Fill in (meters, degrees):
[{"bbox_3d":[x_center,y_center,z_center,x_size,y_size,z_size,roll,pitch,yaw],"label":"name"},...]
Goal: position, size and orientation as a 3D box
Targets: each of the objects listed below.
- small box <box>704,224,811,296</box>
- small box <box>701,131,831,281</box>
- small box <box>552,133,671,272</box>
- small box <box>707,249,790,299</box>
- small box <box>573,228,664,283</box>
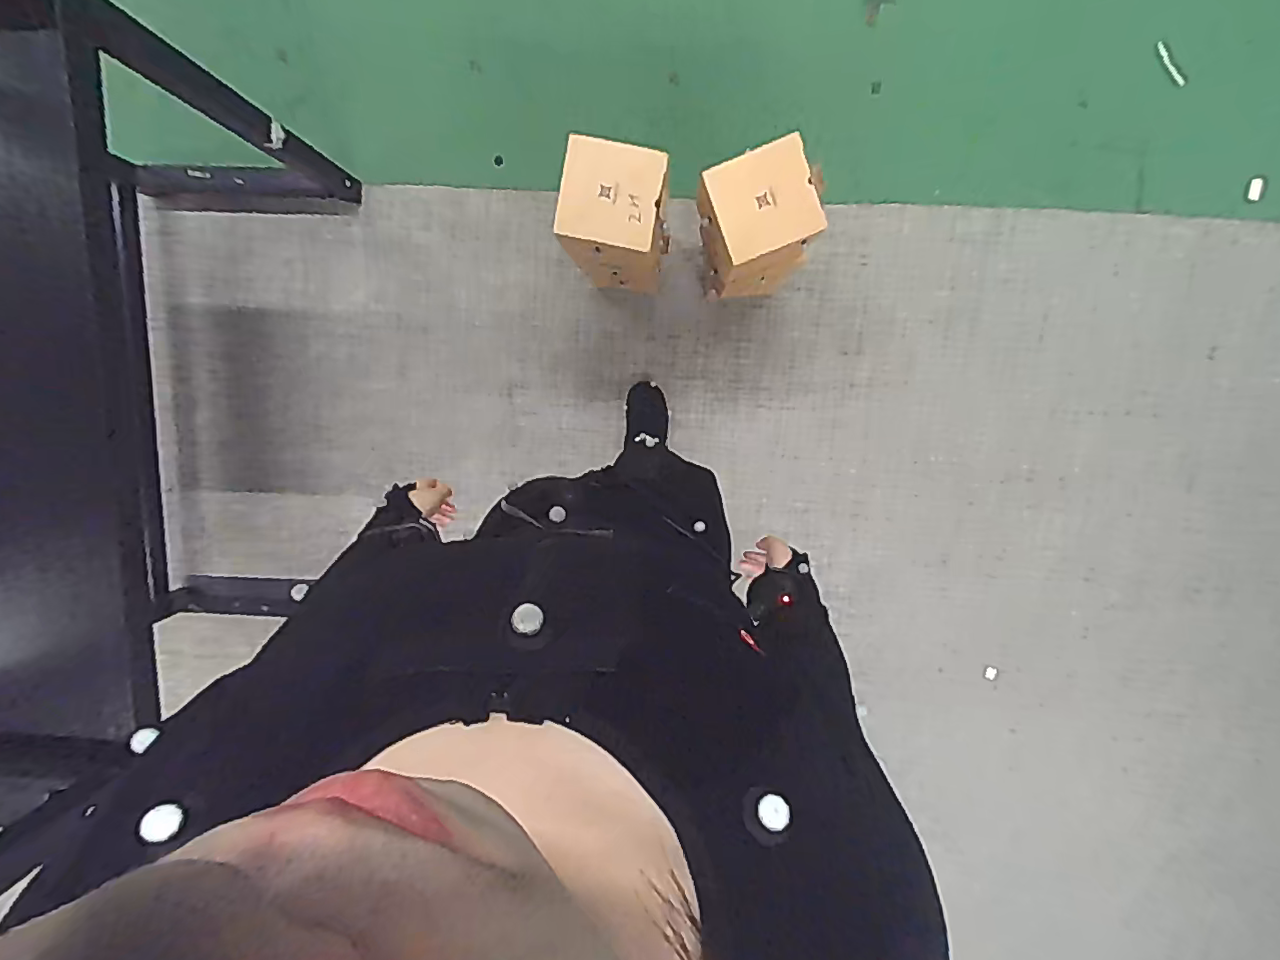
[{"bbox_3d":[0.239,-0.505,1.148,0.179,0.176,0.168,-17,100,4],"label":"small box"},{"bbox_3d":[0.217,-0.484,0.986,0.179,0.176,0.168,-21,98,5],"label":"small box"},{"bbox_3d":[-0.045,-0.495,0.990,0.179,0.176,0.168,12,99,1],"label":"small box"},{"bbox_3d":[0.254,-0.540,1.305,0.179,0.176,0.168,-4,99,2],"label":"small box"},{"bbox_3d":[-0.038,-0.531,1.152,0.168,0.176,0.179,10,100,1],"label":"small box"}]
